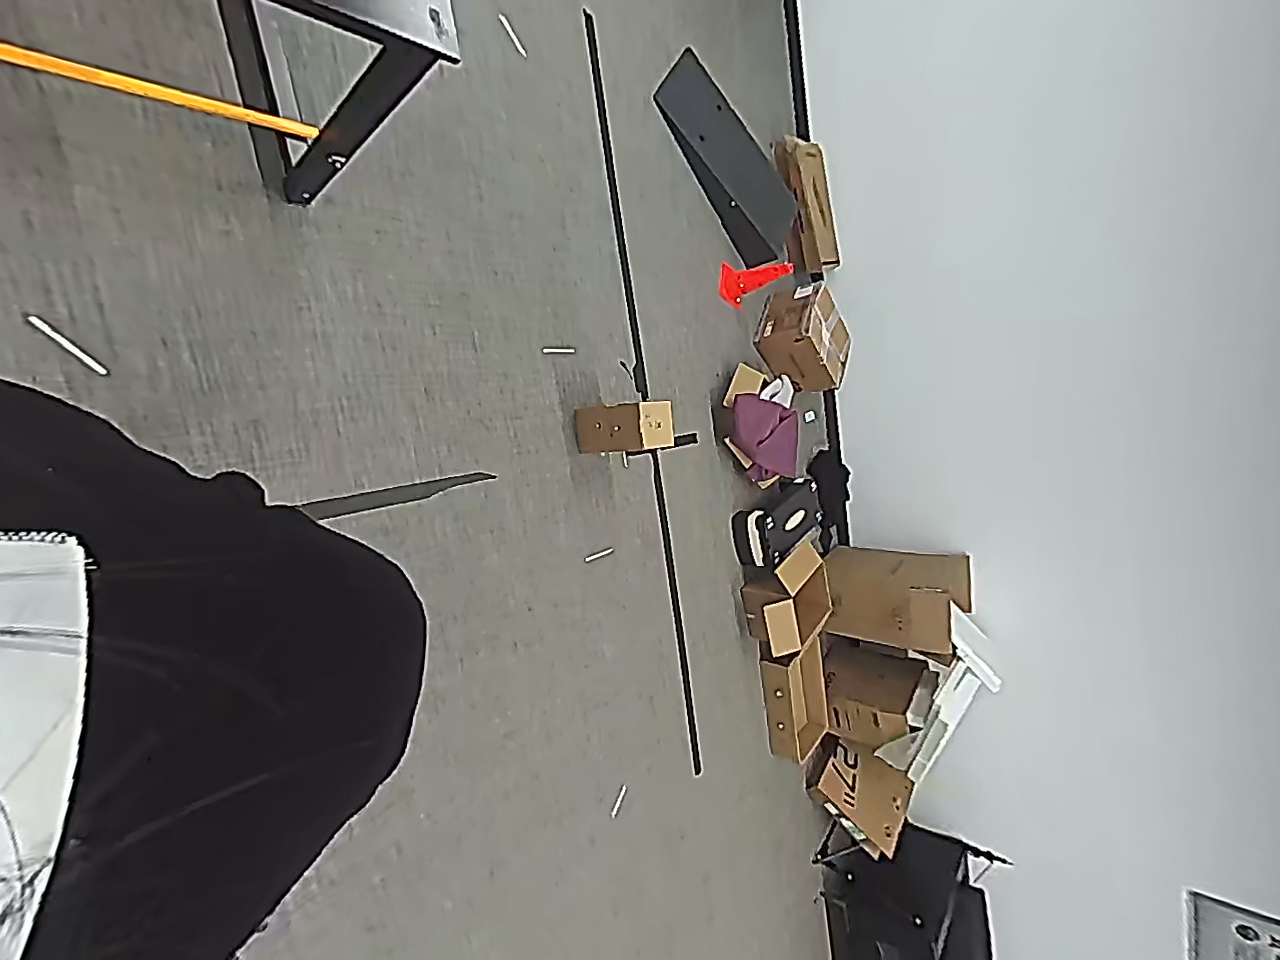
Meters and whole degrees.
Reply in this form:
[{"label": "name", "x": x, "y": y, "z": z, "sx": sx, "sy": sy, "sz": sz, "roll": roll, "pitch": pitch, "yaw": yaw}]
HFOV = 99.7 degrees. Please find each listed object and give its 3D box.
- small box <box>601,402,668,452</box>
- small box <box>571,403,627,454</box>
[{"label": "small box", "x": -0.021, "y": -0.193, "z": 1.959, "sx": 0.179, "sy": 0.176, "sz": 0.168, "roll": -11, "pitch": 97, "yaw": -48}, {"label": "small box", "x": -0.149, "y": -0.197, "z": 2.064, "sx": 0.168, "sy": 0.176, "sz": 0.179, "roll": -10, "pitch": 98, "yaw": -48}]
